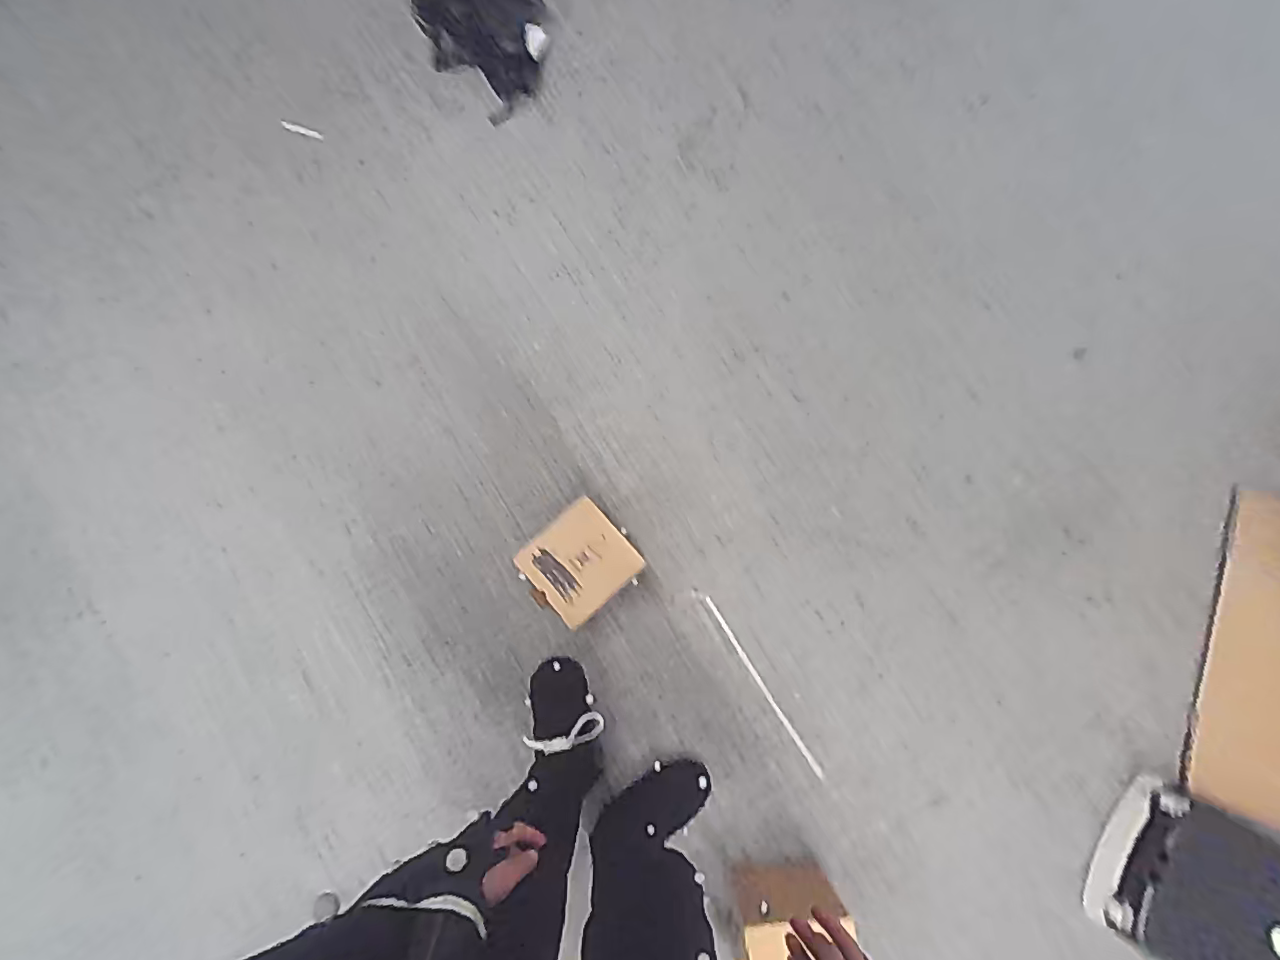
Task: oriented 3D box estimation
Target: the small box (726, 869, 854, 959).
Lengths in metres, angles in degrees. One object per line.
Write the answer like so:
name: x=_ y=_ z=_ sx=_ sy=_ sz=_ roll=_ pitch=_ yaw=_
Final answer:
small box: x=0.251 y=0.796 z=0.917 sx=0.179 sy=0.176 sz=0.168 roll=-6 pitch=82 yaw=1
